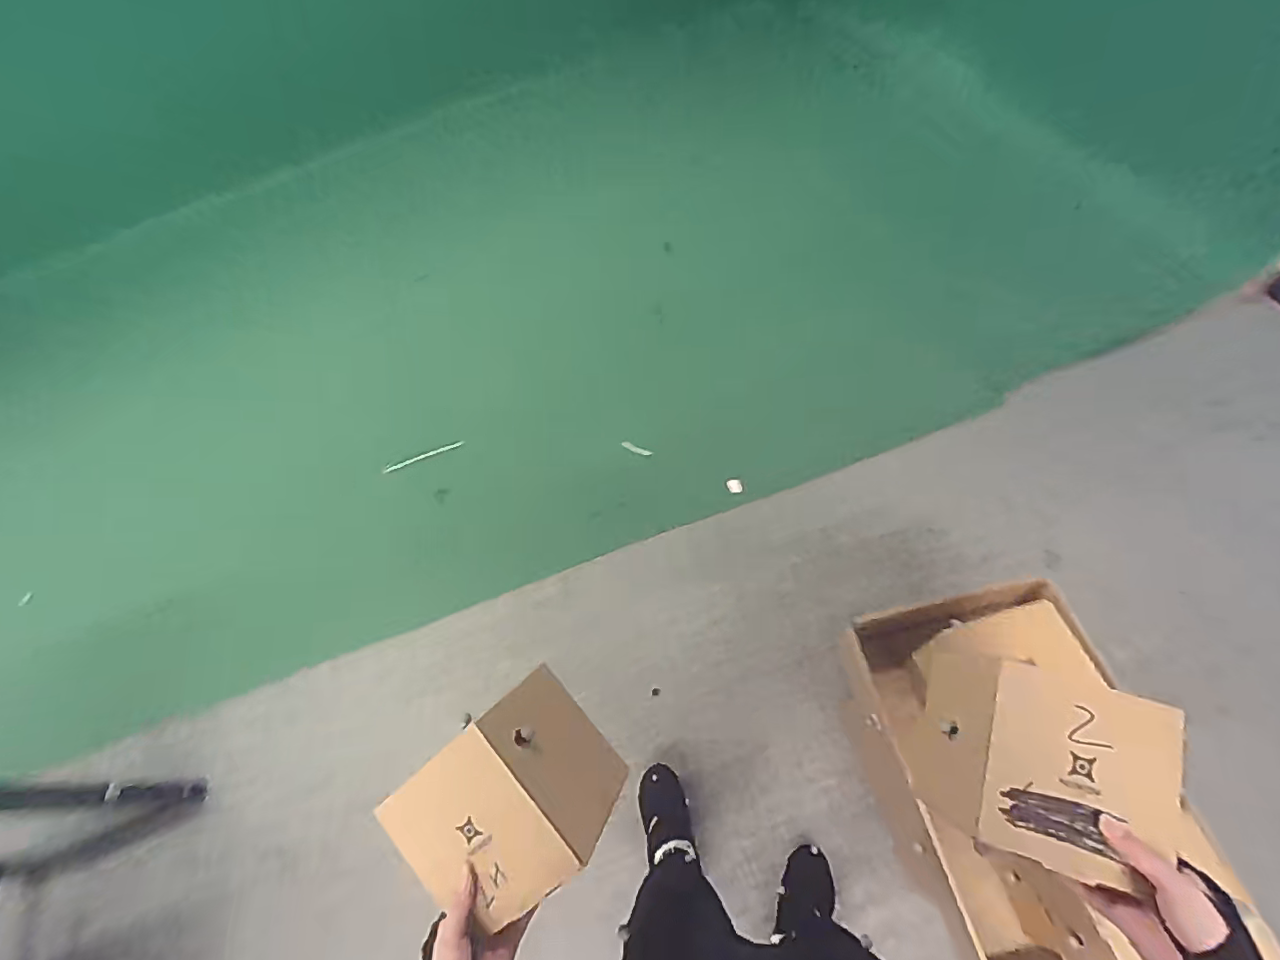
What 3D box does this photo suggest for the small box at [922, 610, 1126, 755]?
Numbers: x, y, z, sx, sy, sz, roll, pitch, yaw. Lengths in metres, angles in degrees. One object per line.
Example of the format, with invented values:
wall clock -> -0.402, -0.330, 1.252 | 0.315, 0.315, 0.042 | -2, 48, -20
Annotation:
small box -> 0.589, 0.327, 0.860 | 0.179, 0.176, 0.168 | -17, 59, 2

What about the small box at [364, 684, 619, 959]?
small box -> -0.152, 0.356, 0.603 | 0.168, 0.176, 0.179 | -43, 82, 12

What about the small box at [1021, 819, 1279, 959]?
small box -> 0.647, 0.561, 0.712 | 0.179, 0.176, 0.168 | -14, 60, 2

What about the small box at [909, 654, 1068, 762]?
small box -> 0.628, 0.406, 0.998 | 0.168, 0.176, 0.179 | -16, 60, 2
